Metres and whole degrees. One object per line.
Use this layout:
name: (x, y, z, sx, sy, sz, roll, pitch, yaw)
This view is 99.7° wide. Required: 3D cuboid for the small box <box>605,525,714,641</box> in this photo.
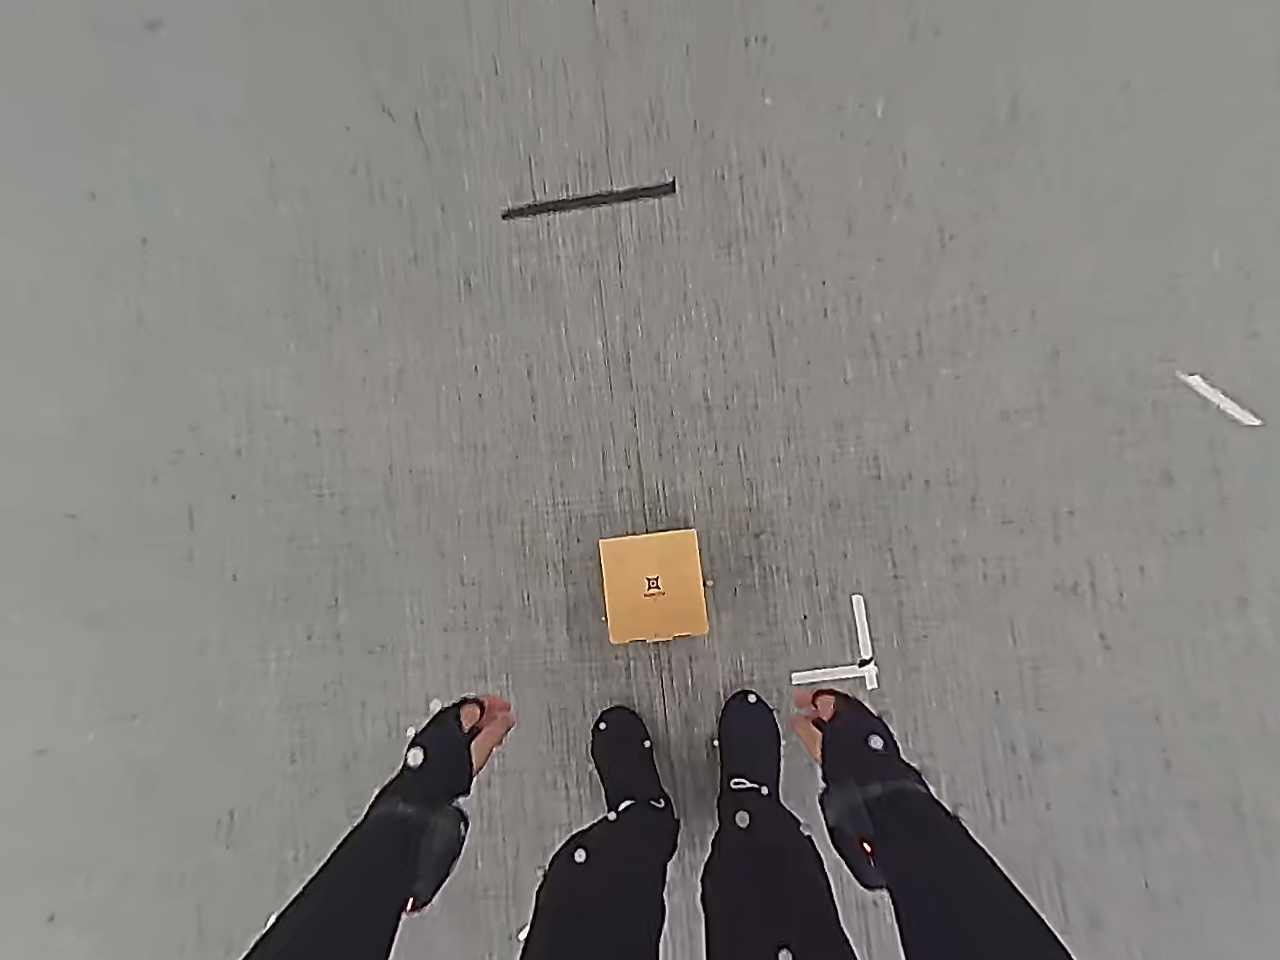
small box: (0.034, 0.176, 0.967, 0.168, 0.176, 0.179, -8, 86, 3)
